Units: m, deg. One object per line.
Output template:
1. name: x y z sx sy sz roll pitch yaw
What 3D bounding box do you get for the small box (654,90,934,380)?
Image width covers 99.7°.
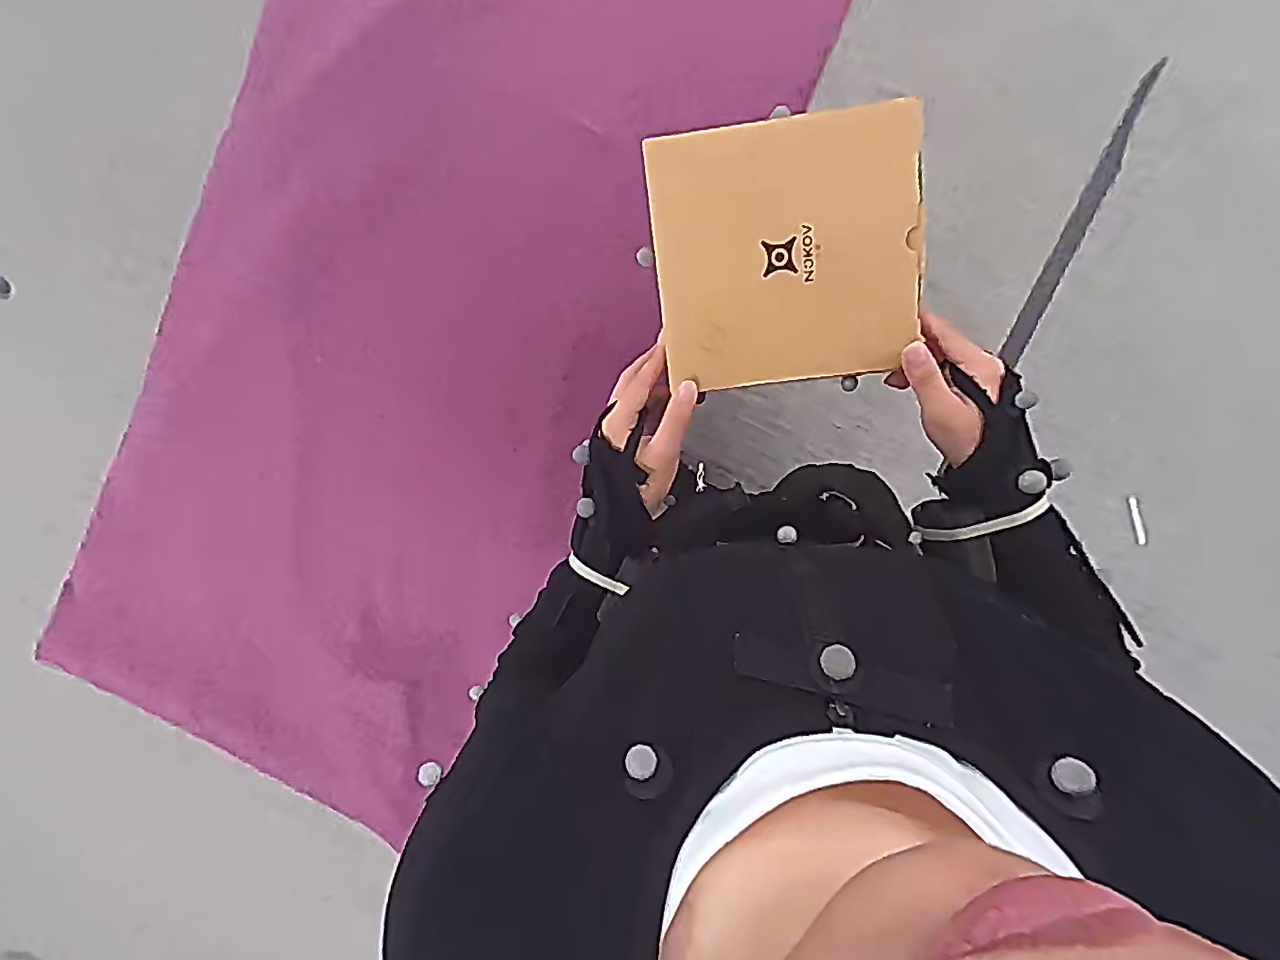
1. small box: 0.108 -0.174 0.435 0.179 0.176 0.168 -6 104 4
